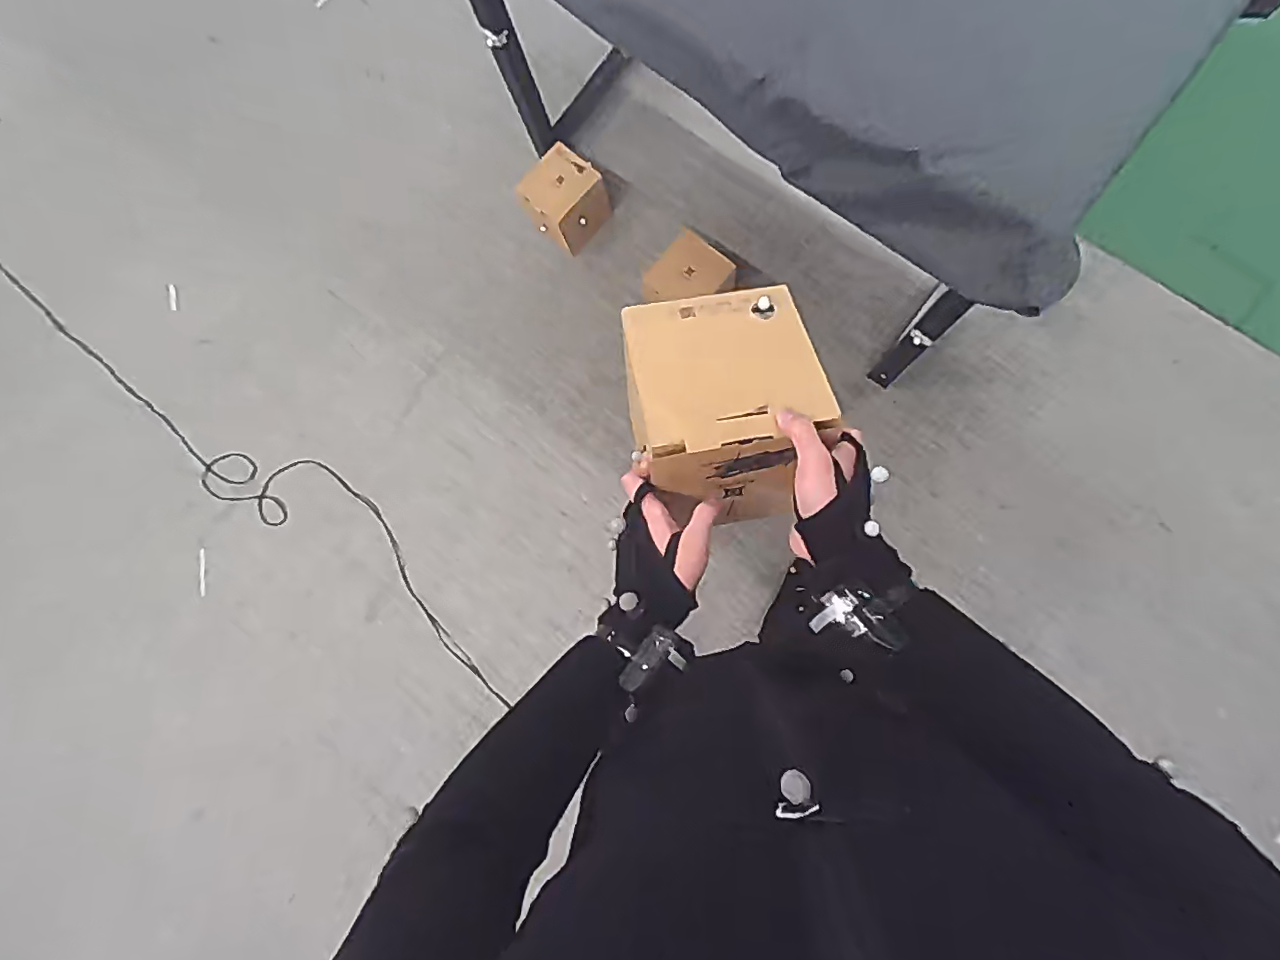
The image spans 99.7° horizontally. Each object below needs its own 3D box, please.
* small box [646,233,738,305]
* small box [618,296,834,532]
[{"bbox_3d":[0.140,-0.500,1.430,0.168,0.176,0.179,40,89,10],"label":"small box"},{"bbox_3d":[0.073,-0.069,0.555,0.168,0.179,0.176,-9,60,-2],"label":"small box"}]
